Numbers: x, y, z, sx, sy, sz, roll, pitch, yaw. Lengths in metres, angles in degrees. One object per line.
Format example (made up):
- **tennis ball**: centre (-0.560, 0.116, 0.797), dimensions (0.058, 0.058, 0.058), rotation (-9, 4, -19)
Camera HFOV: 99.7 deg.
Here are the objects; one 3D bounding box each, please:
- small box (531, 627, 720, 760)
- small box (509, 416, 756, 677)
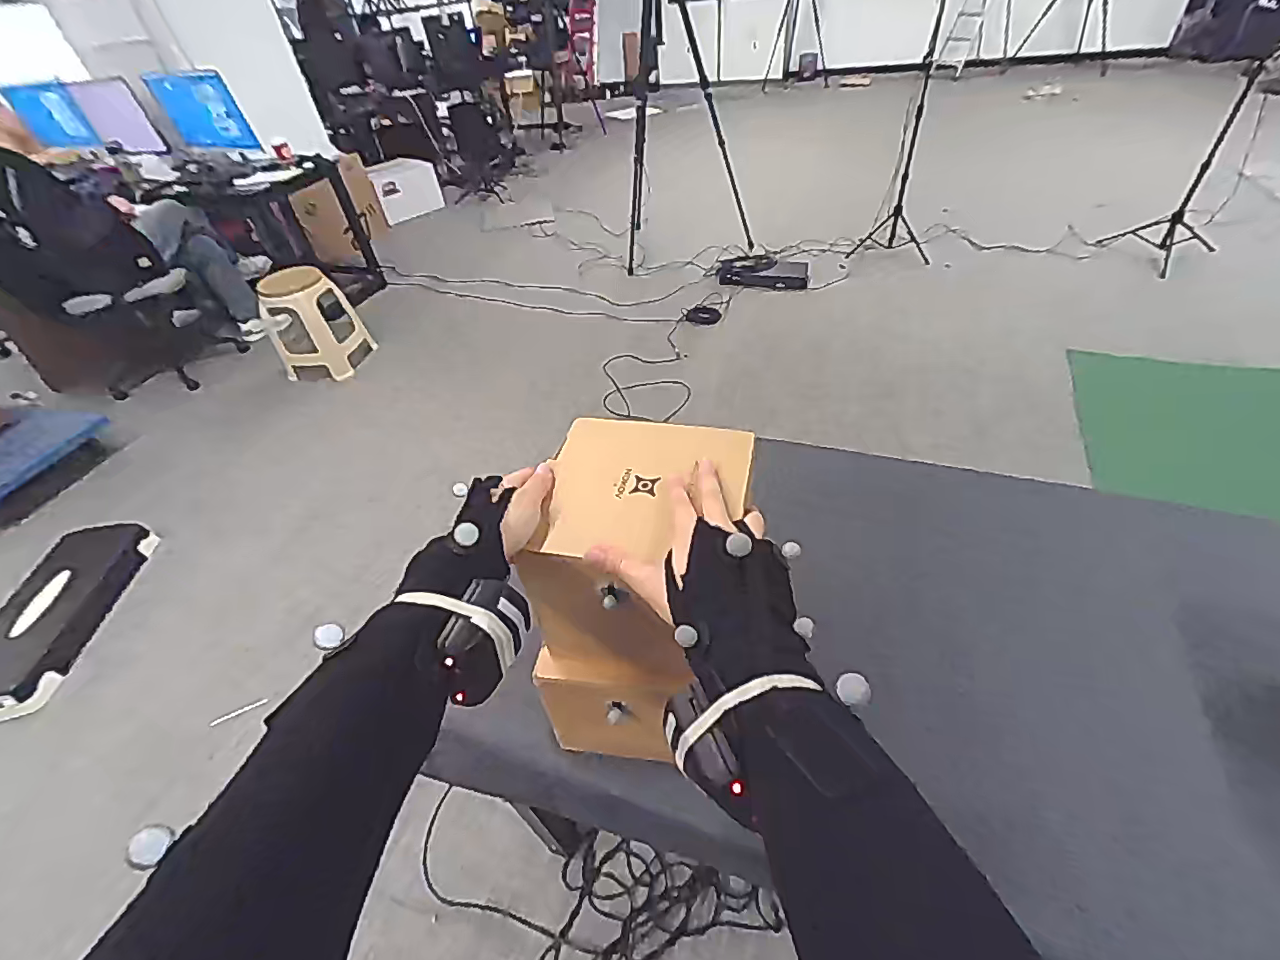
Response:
- **small box**: centre (0.002, 0.191, 0.601), dimensions (0.179, 0.176, 0.168), rotation (3, 44, 10)
- **small box**: centre (0.007, 0.061, 0.503), dimensions (0.179, 0.176, 0.168), rotation (7, 46, 12)
